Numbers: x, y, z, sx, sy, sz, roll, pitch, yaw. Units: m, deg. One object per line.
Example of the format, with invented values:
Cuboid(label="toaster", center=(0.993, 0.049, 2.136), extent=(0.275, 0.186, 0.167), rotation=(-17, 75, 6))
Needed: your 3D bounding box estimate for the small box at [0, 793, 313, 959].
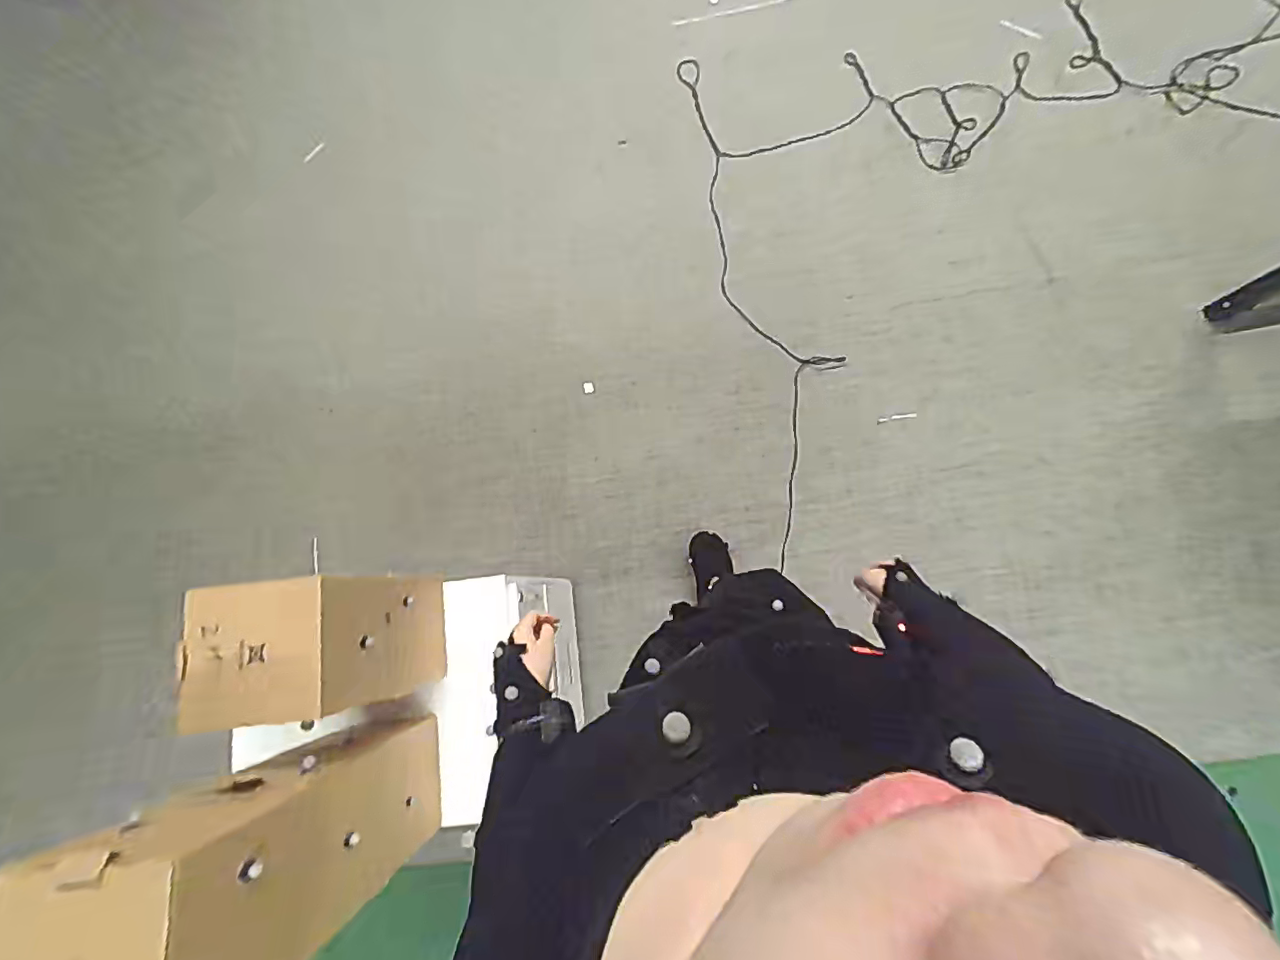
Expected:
Cuboid(label="small box", center=(-0.439, 0.416, 0.508), extent=(0.168, 0.176, 0.179), rotation=(-8, 79, 5))

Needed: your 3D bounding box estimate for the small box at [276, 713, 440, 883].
Cuboid(label="small box", center=(-0.422, 0.477, 0.831), extent=(0.168, 0.176, 0.179), rotation=(-9, 77, 3))

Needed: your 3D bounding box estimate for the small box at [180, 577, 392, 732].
Cuboid(label="small box", center=(-0.448, 0.218, 0.713), extent=(0.179, 0.176, 0.168), rotation=(-7, 79, 4))
